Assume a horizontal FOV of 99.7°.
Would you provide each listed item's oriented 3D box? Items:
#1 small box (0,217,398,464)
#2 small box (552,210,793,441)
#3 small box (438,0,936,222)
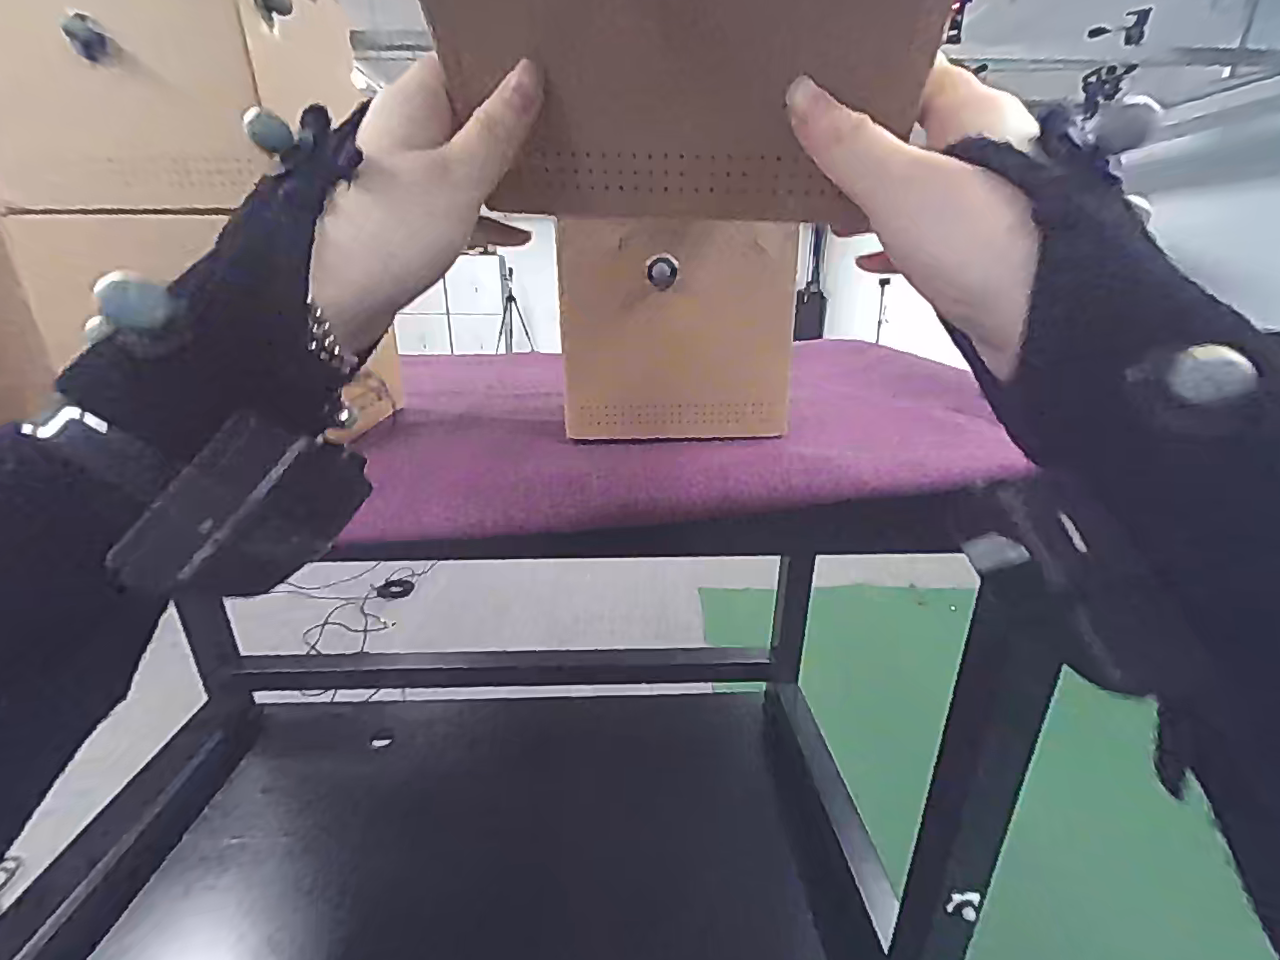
[{"bbox_3d":[-0.322,-0.117,0.447,0.179,0.176,0.168,-2,21,-3],"label":"small box"},{"bbox_3d":[0.025,-0.133,0.480,0.179,0.176,0.168,0,19,-1],"label":"small box"},{"bbox_3d":[0.021,-0.225,0.213,0.179,0.176,0.168,5,60,8],"label":"small box"}]
